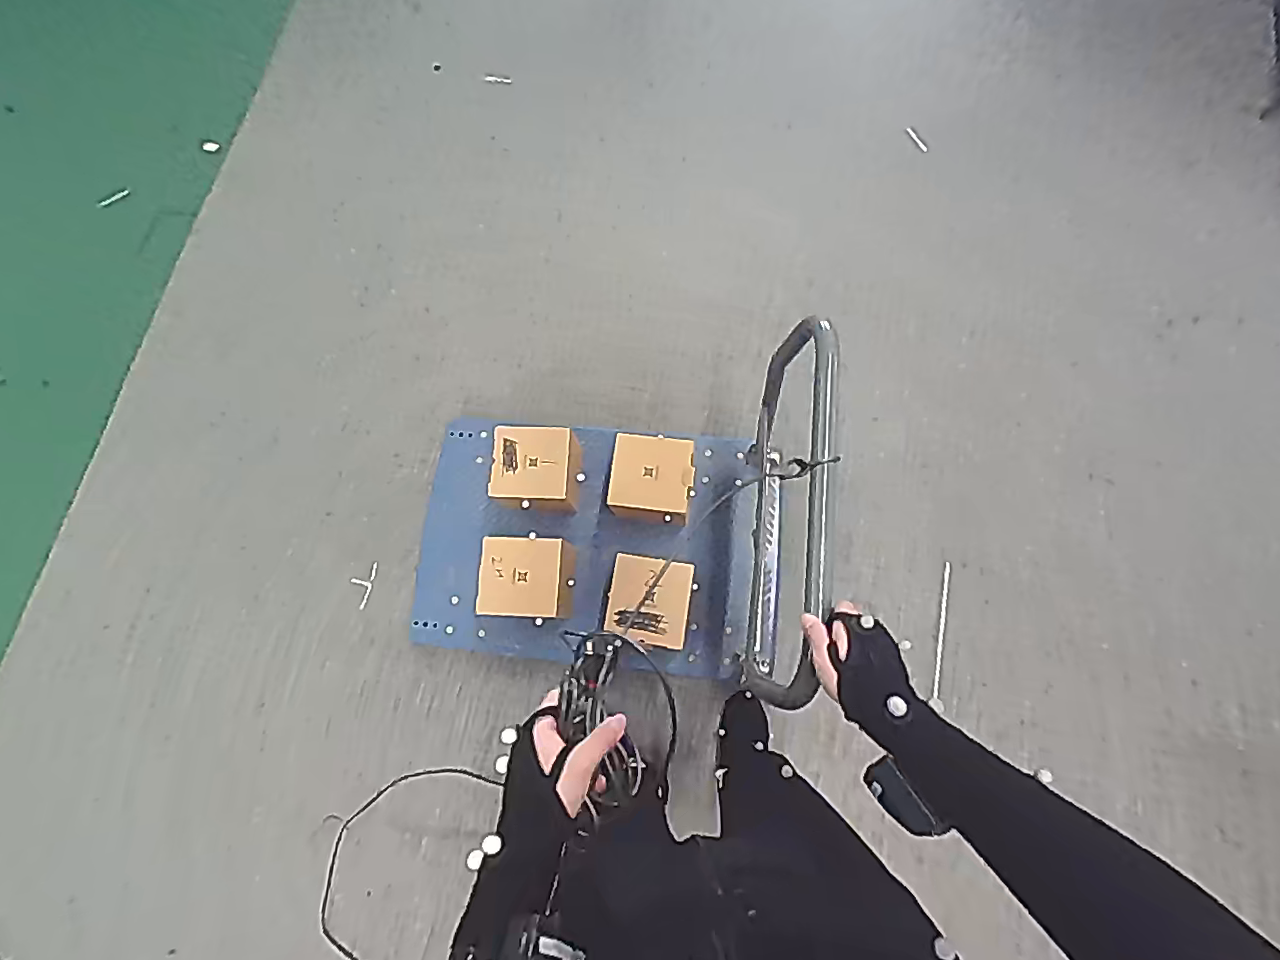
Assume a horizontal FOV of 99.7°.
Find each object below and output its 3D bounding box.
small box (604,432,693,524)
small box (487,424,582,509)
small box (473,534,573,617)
[{"bbox_3d":[0.025,0.001,1.252,0.179,0.176,0.168,7,77,6],"label":"small box"},{"bbox_3d":[-0.242,-0.026,1.278,0.179,0.176,0.168,2,77,4],"label":"small box"},{"bbox_3d":[-0.254,0.218,1.220,0.179,0.176,0.168,2,76,5],"label":"small box"}]
